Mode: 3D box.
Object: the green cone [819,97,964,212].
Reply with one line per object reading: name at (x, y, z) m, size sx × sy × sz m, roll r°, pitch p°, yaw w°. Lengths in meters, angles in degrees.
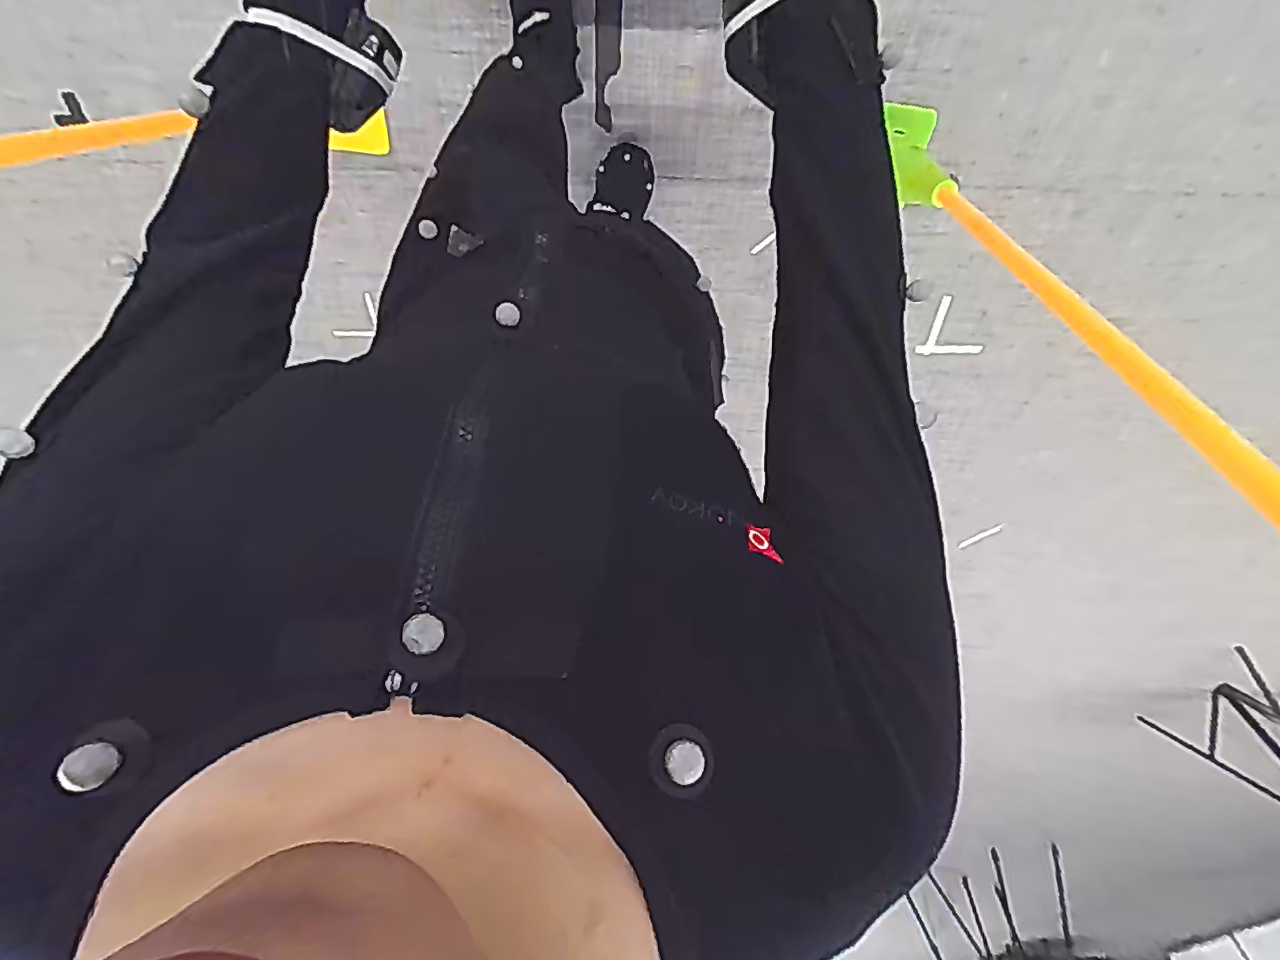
green cone at (0.504, -0.580, 1.024) m, size 0.202 × 0.368 × 0.200 m, roll 4°, pitch 129°, yaw -4°
